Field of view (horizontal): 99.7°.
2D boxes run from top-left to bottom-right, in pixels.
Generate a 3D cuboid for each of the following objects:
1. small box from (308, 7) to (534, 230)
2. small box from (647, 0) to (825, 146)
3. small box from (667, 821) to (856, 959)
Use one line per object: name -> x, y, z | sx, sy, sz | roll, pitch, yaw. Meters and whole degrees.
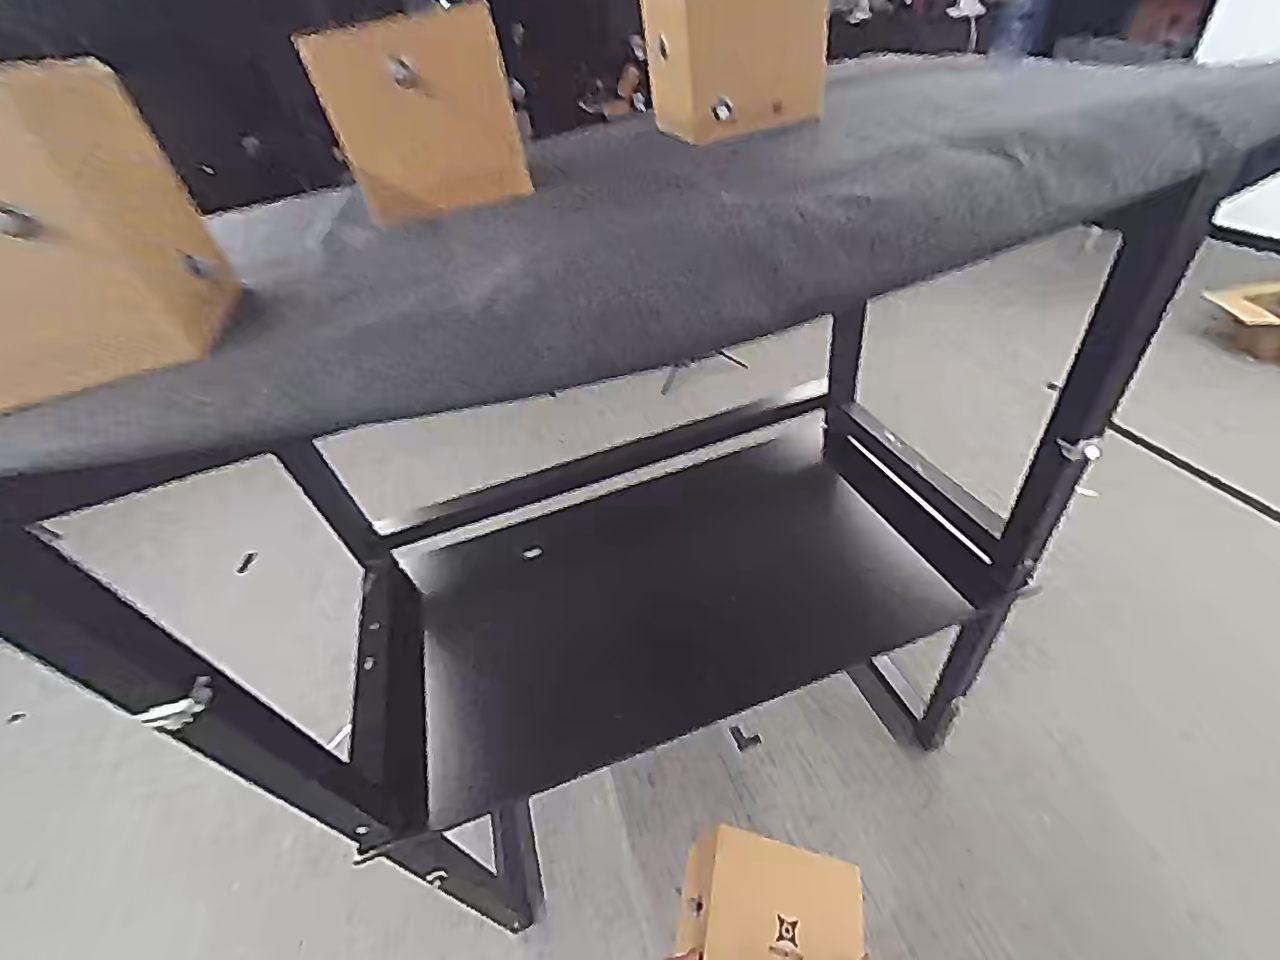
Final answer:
small box -> -0.223, -0.405, 0.606 | 0.179, 0.176, 0.168 | -15, 42, -3
small box -> 0.117, -0.529, 0.666 | 0.168, 0.176, 0.179 | -16, 41, -5
small box -> 0.128, 0.522, 0.609 | 0.168, 0.176, 0.179 | 15, 47, 3
